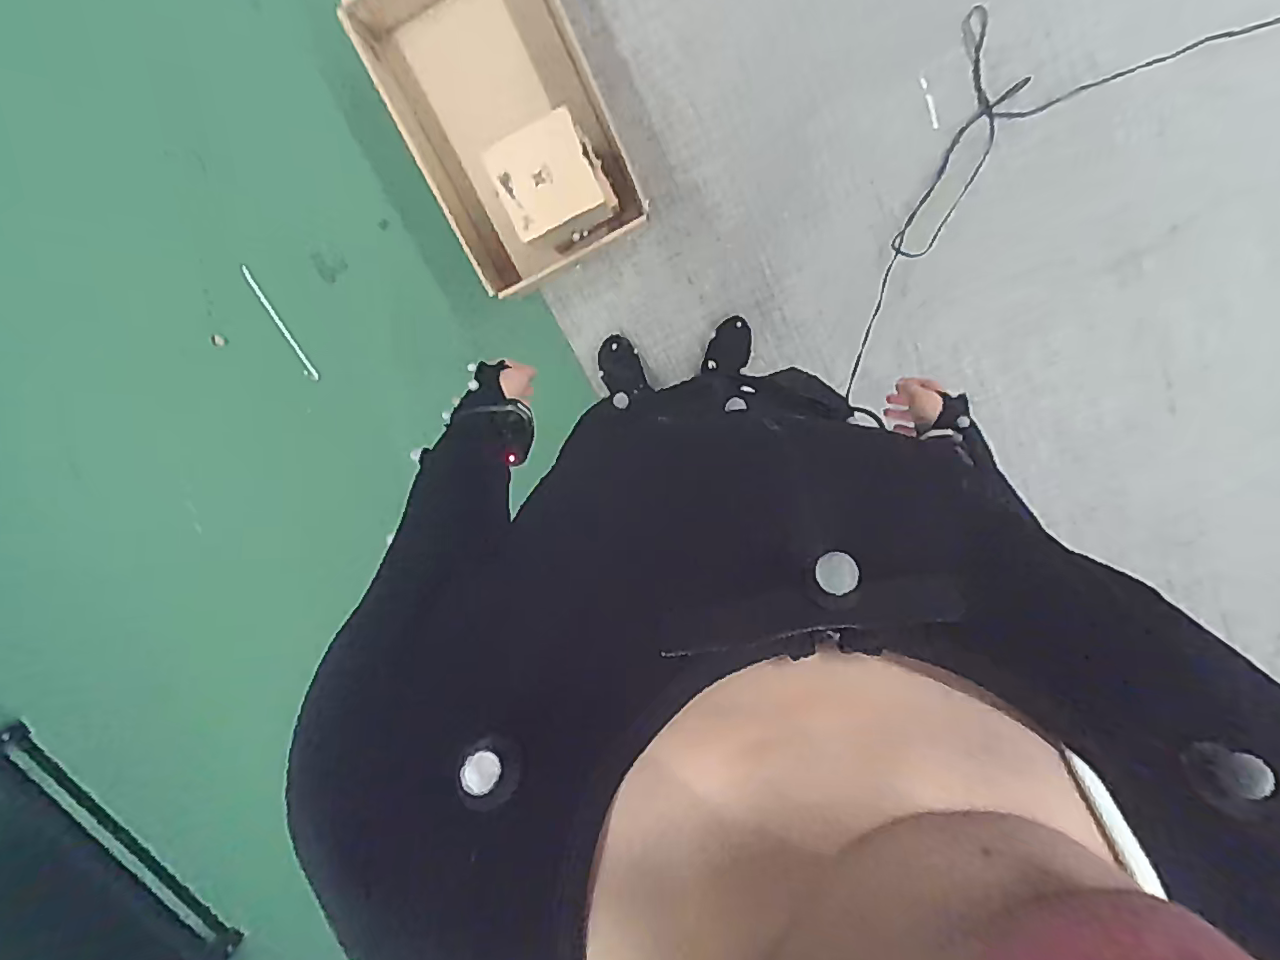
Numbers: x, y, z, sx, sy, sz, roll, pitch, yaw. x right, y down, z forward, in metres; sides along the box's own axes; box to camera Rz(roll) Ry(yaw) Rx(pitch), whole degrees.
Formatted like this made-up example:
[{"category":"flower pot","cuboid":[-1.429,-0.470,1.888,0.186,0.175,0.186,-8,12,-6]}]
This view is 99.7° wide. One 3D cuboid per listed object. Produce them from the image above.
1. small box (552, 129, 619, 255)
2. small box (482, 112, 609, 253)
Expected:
[{"category":"small box","cuboid":[-0.158,-0.616,1.186,0.179,0.176,0.168,-29,104,9]},{"category":"small box","cuboid":[-0.168,-0.555,1.034,0.179,0.176,0.168,-23,105,7]}]
